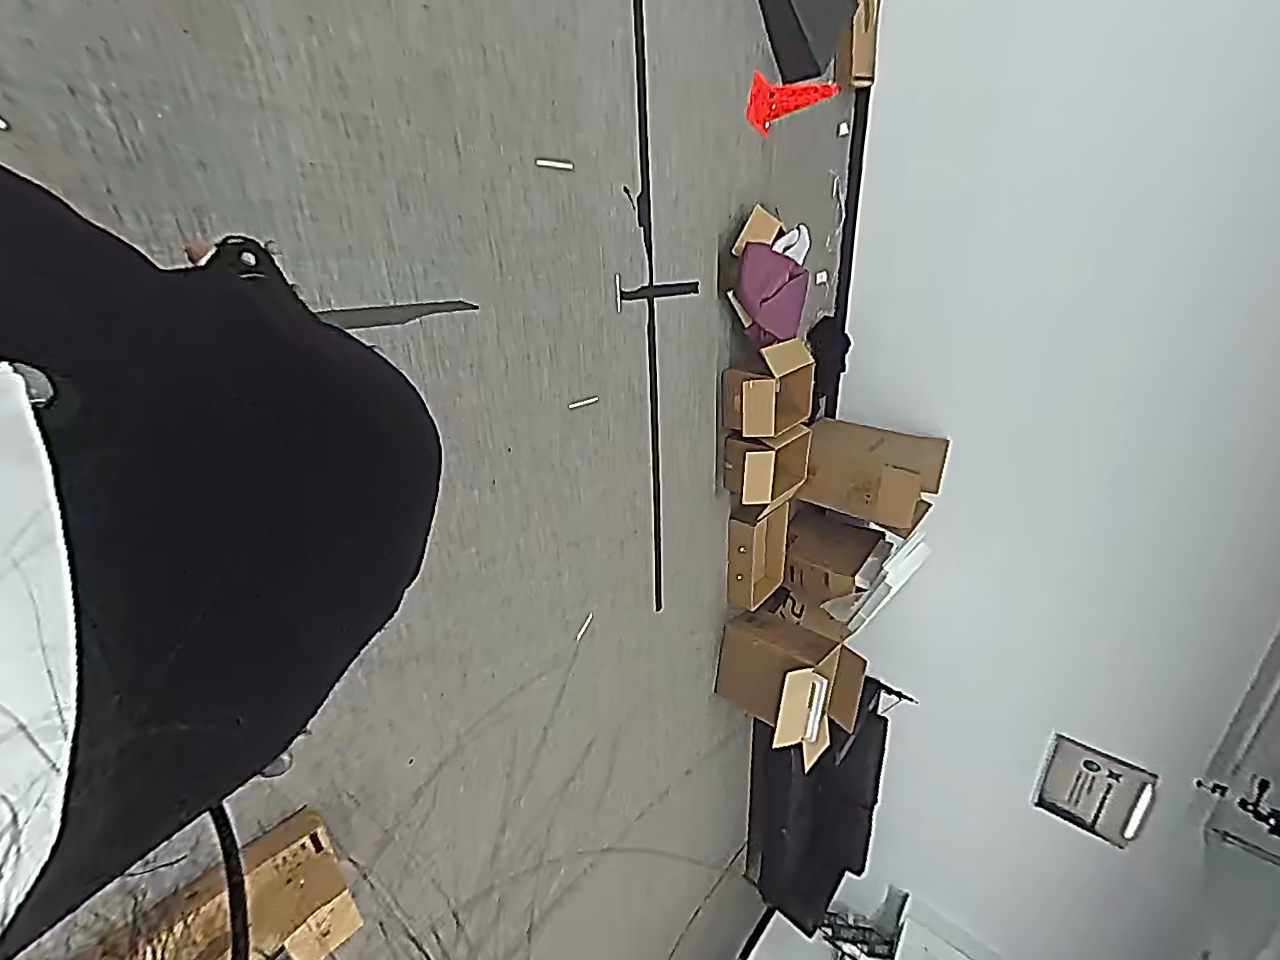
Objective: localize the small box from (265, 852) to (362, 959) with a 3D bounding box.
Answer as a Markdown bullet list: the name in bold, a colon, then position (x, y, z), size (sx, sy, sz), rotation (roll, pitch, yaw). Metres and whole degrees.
- **small box**: position (-0.912, 1.201, 1.511), size (0.168, 0.176, 0.179), rotation (-26, 123, -42)
